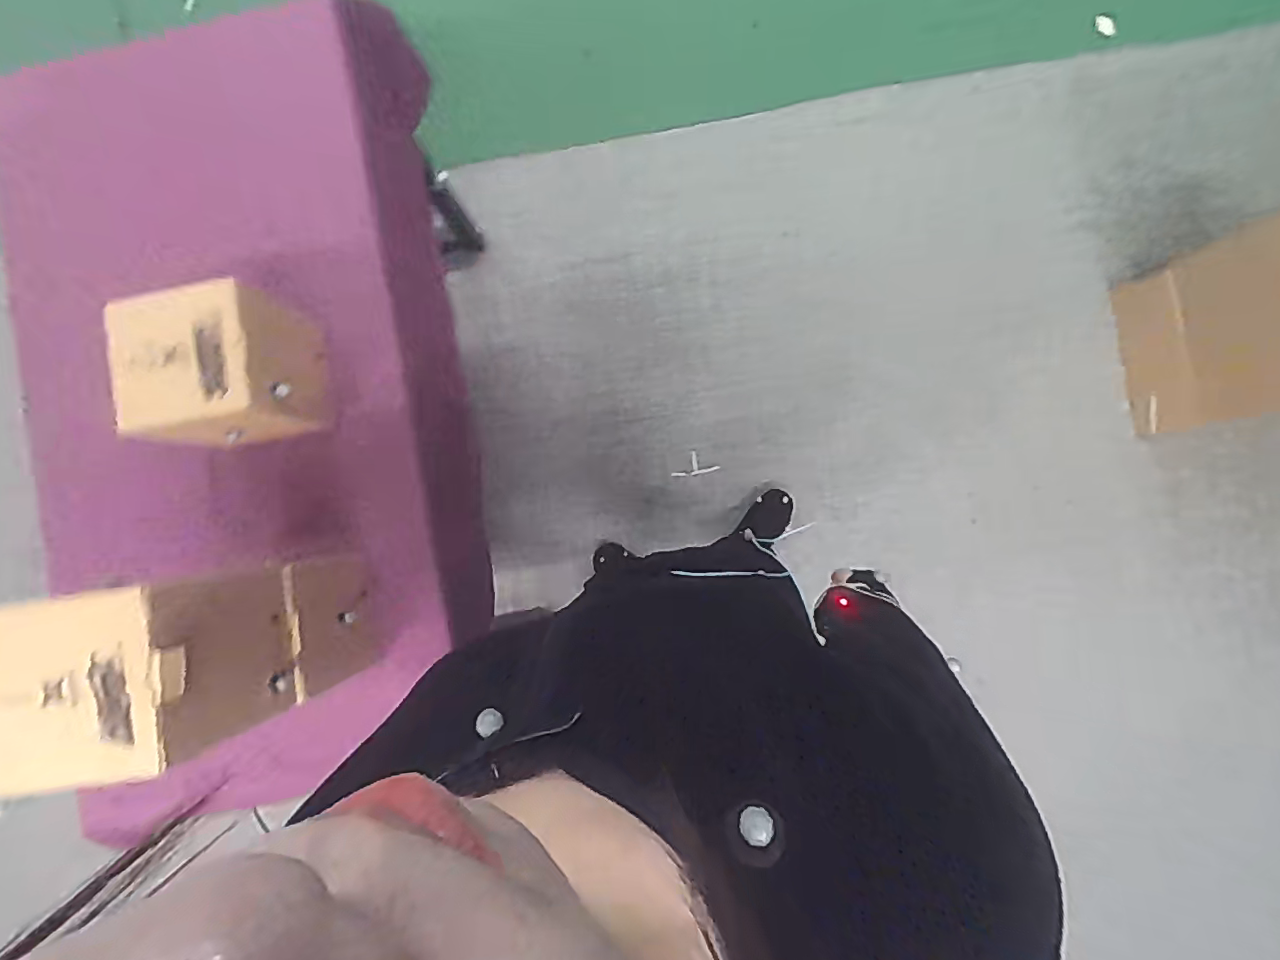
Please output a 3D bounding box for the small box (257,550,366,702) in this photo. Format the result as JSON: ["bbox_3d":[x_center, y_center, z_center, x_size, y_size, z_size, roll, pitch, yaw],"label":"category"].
[{"bbox_3d":[-0.491,0.190,0.722,0.179,0.176,0.168,-9,87,2],"label":"small box"}]

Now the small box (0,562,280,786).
[{"bbox_3d":[-0.507,0.183,0.558,0.179,0.176,0.168,-8,87,4],"label":"small box"}]
